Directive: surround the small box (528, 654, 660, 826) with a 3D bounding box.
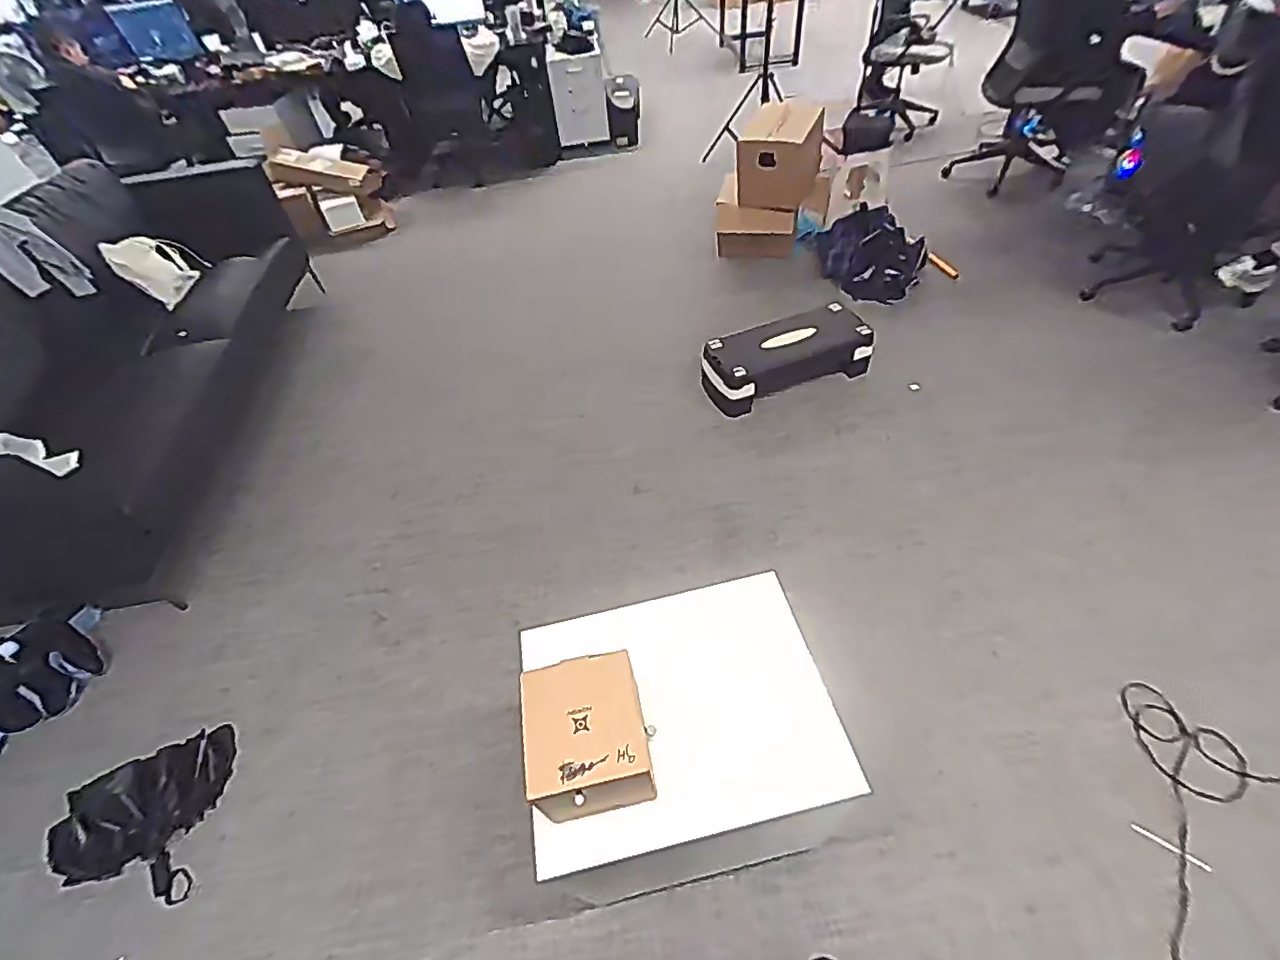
[{"bbox_3d":[-0.069,0.394,0.819,0.168,0.176,0.179,-12,47,-3],"label":"small box"}]
